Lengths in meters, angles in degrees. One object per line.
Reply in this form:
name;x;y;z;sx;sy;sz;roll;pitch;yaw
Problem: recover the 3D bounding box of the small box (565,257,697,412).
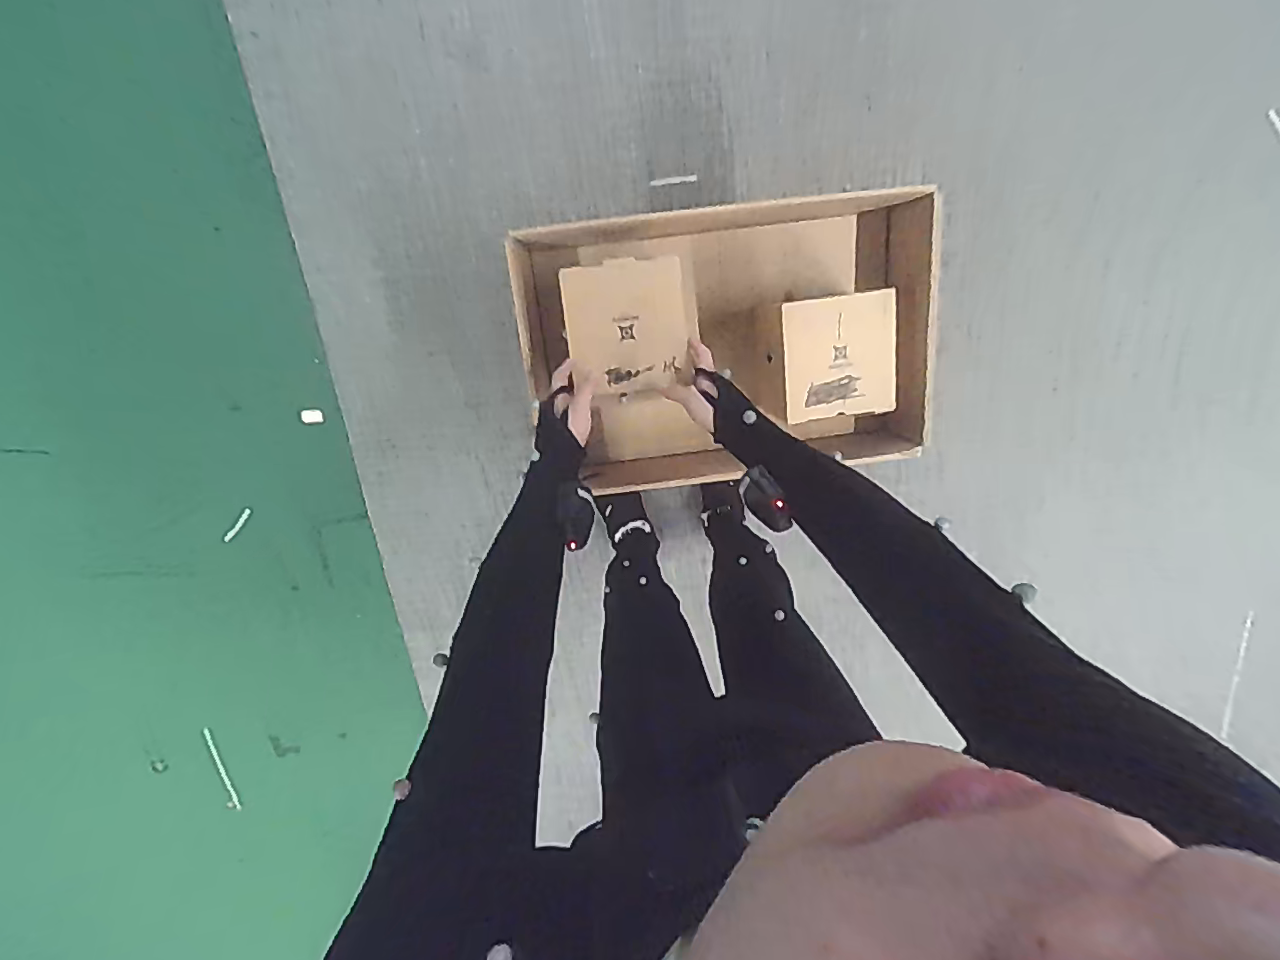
small box;-0.014;-0.204;0.802;0.168;0.176;0.179;-7;91;0
